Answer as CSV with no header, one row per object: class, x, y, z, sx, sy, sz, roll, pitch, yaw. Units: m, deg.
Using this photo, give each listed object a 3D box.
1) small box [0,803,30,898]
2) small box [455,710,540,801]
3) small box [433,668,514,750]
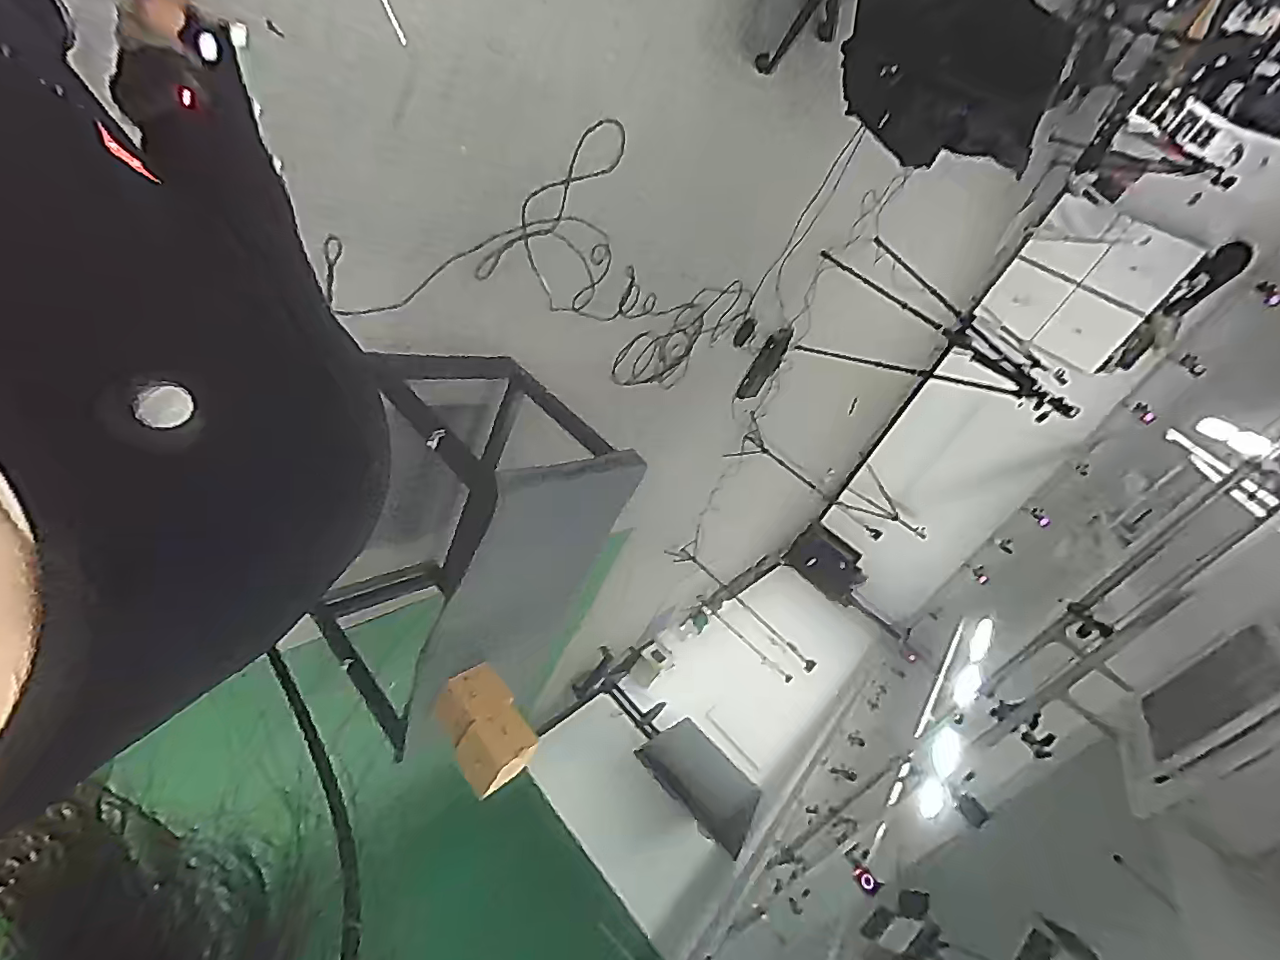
small box,-1.742,0.998,1.410,0.179,0.176,0.168,-12,137,-54
small box,-0.458,0.861,1.717,0.168,0.176,0.179,-7,132,-57
small box,-0.556,0.751,1.790,0.168,0.176,0.179,-10,137,-55
